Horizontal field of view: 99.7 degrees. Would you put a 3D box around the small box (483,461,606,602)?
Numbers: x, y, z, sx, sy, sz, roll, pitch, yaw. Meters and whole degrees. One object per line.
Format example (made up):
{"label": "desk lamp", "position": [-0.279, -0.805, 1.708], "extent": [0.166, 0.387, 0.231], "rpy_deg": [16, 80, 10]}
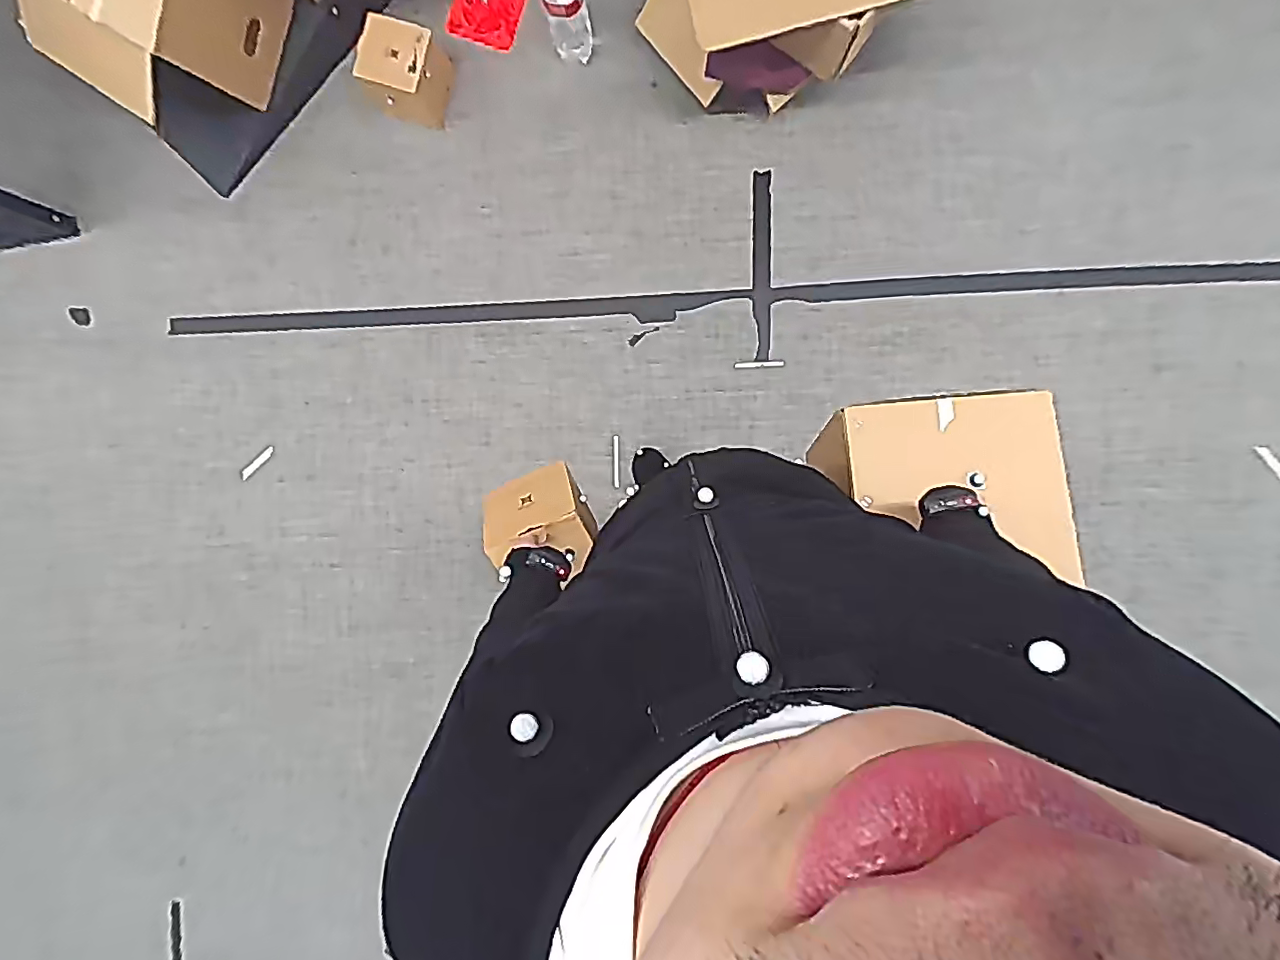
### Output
{"label": "small box", "position": [-0.174, 0.100, 0.997], "extent": [0.168, 0.179, 0.176], "rpy_deg": [-23, 124, -1]}
